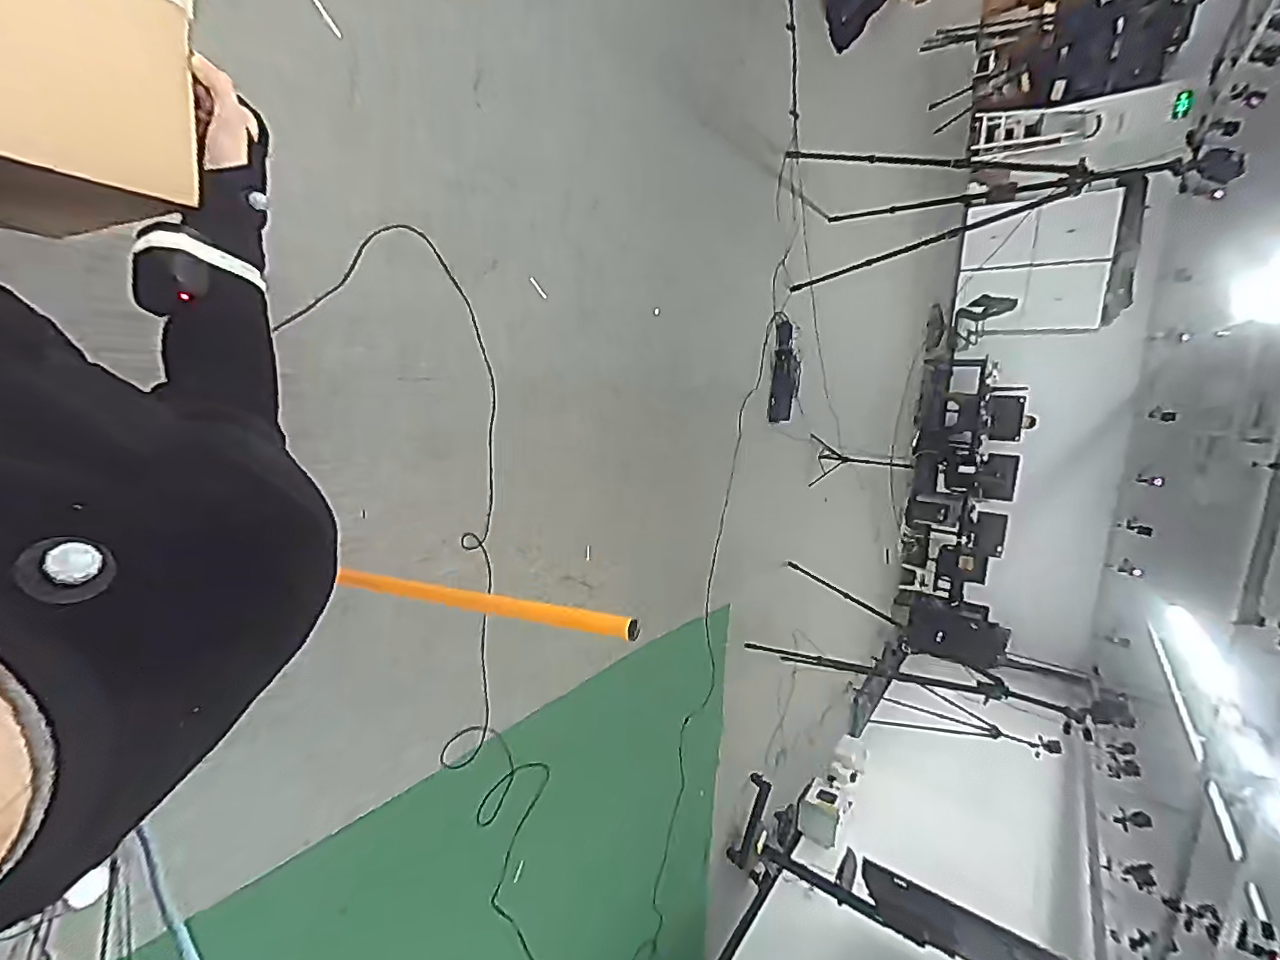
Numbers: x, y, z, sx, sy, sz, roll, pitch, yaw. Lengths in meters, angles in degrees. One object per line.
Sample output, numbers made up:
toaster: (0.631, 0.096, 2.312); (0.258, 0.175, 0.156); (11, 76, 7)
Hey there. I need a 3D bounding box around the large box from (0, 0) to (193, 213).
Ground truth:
large box: (-0.598, -0.389, 0.334); (0.408, 0.320, 0.320); (-15, 111, -60)
